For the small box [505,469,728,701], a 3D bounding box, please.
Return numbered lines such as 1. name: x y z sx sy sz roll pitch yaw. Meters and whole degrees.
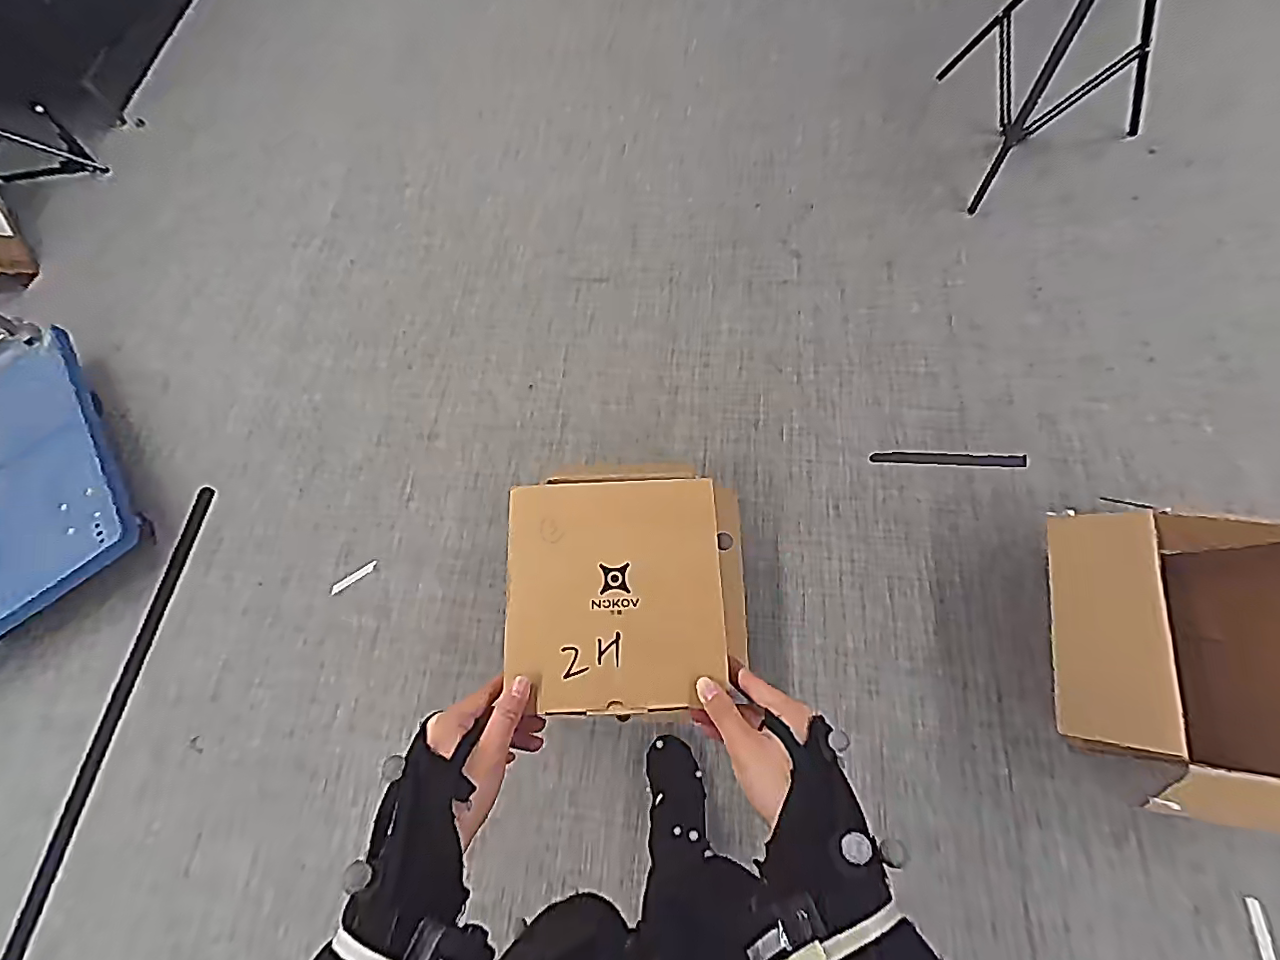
1. small box: -0.019 0.100 0.493 0.168 0.176 0.179 -3 73 1
